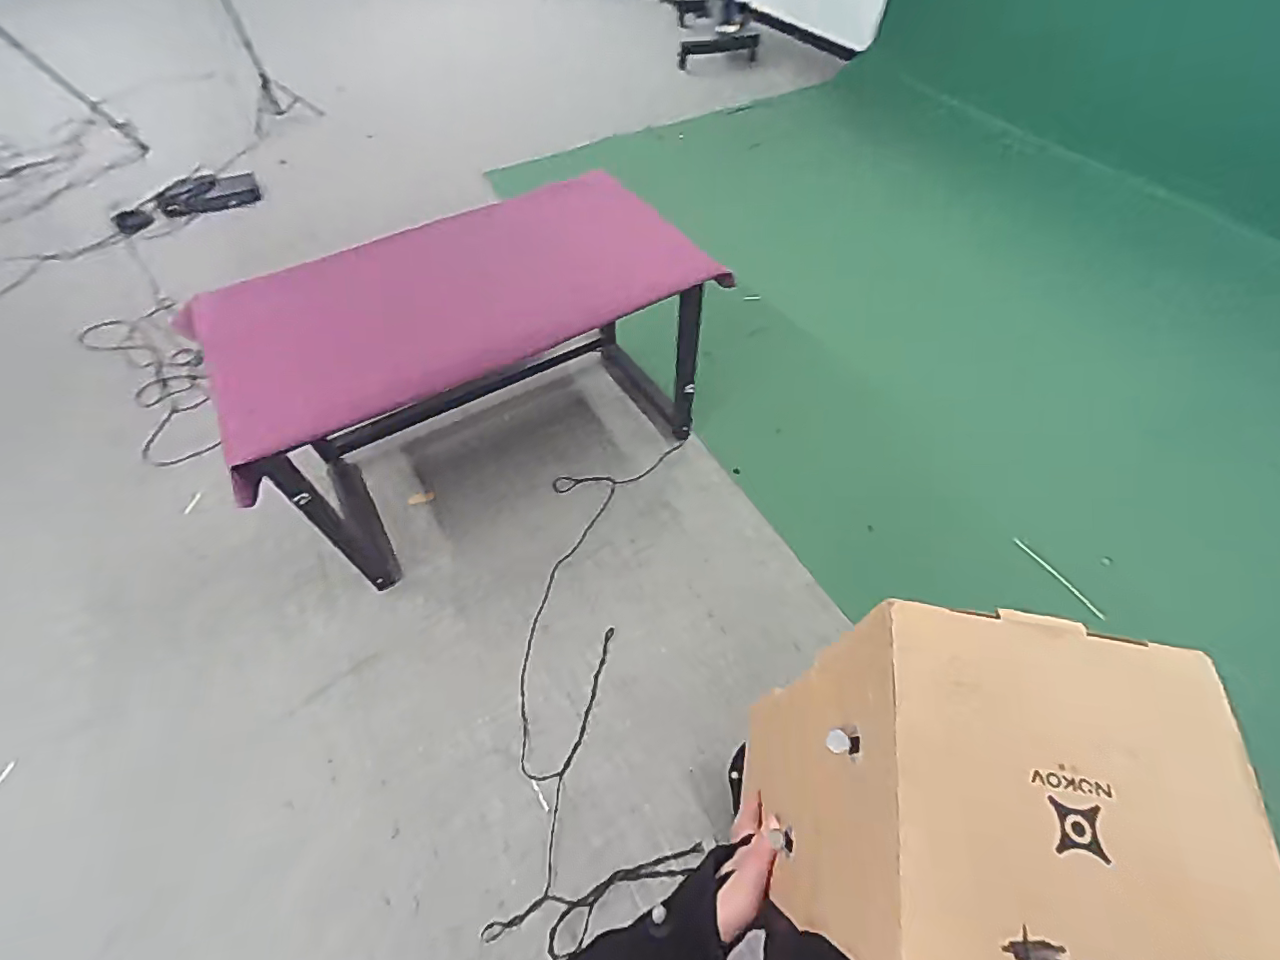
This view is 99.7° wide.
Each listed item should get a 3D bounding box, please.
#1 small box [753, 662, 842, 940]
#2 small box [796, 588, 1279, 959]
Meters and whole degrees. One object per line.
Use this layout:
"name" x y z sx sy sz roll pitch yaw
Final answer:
"small box" 0.196 0.275 0.460 0.168 0.176 0.179 10 61 6
"small box" 0.195 0.186 0.322 0.168 0.176 0.179 8 61 7
